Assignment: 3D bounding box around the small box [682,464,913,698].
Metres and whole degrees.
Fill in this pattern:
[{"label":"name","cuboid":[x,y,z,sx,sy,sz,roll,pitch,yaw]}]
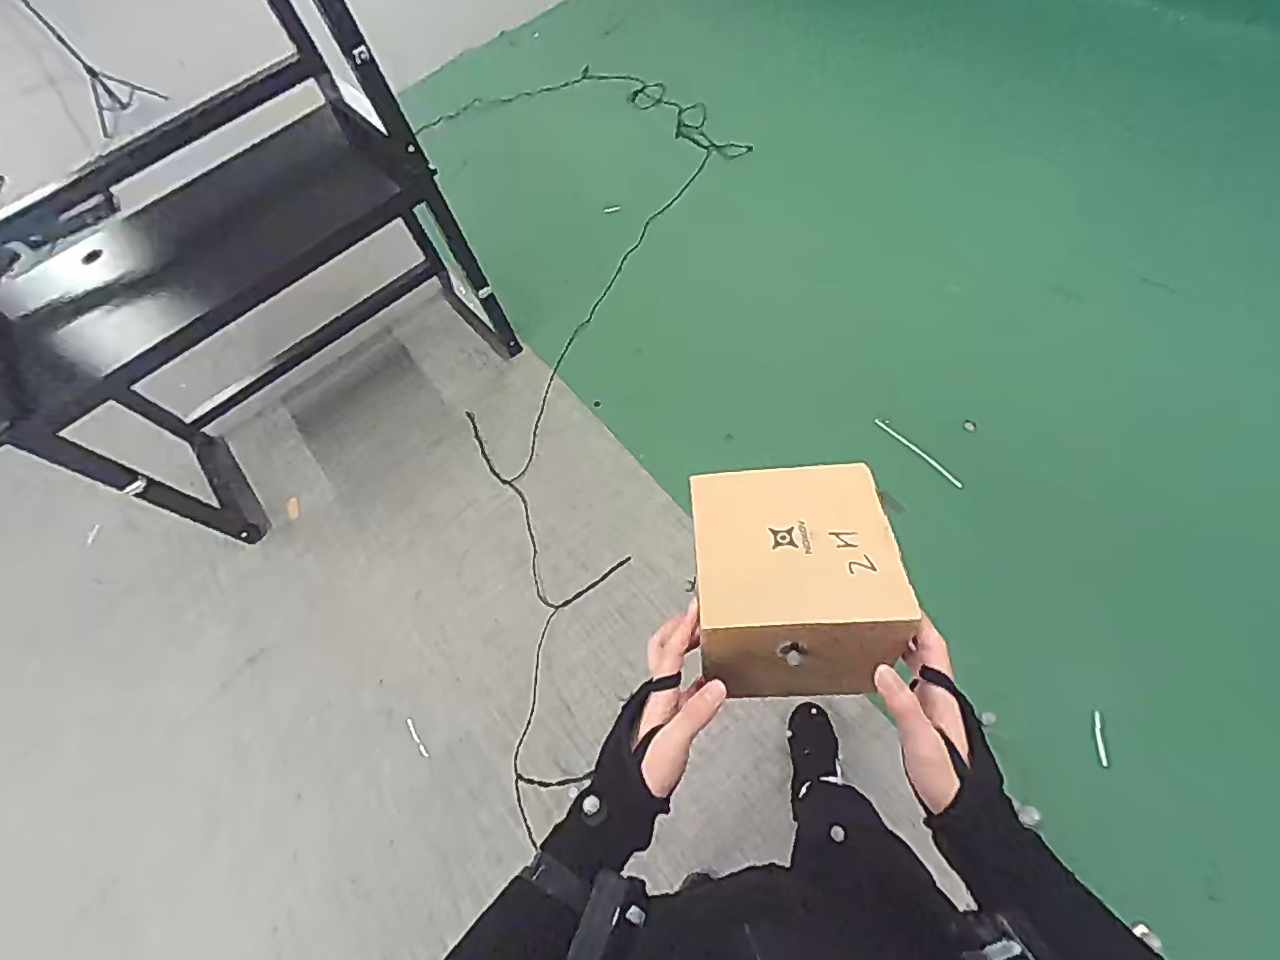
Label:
[{"label":"small box","cuboid":[0.138,0.105,0.536,0.179,0.176,0.168,-4,49,5]}]
